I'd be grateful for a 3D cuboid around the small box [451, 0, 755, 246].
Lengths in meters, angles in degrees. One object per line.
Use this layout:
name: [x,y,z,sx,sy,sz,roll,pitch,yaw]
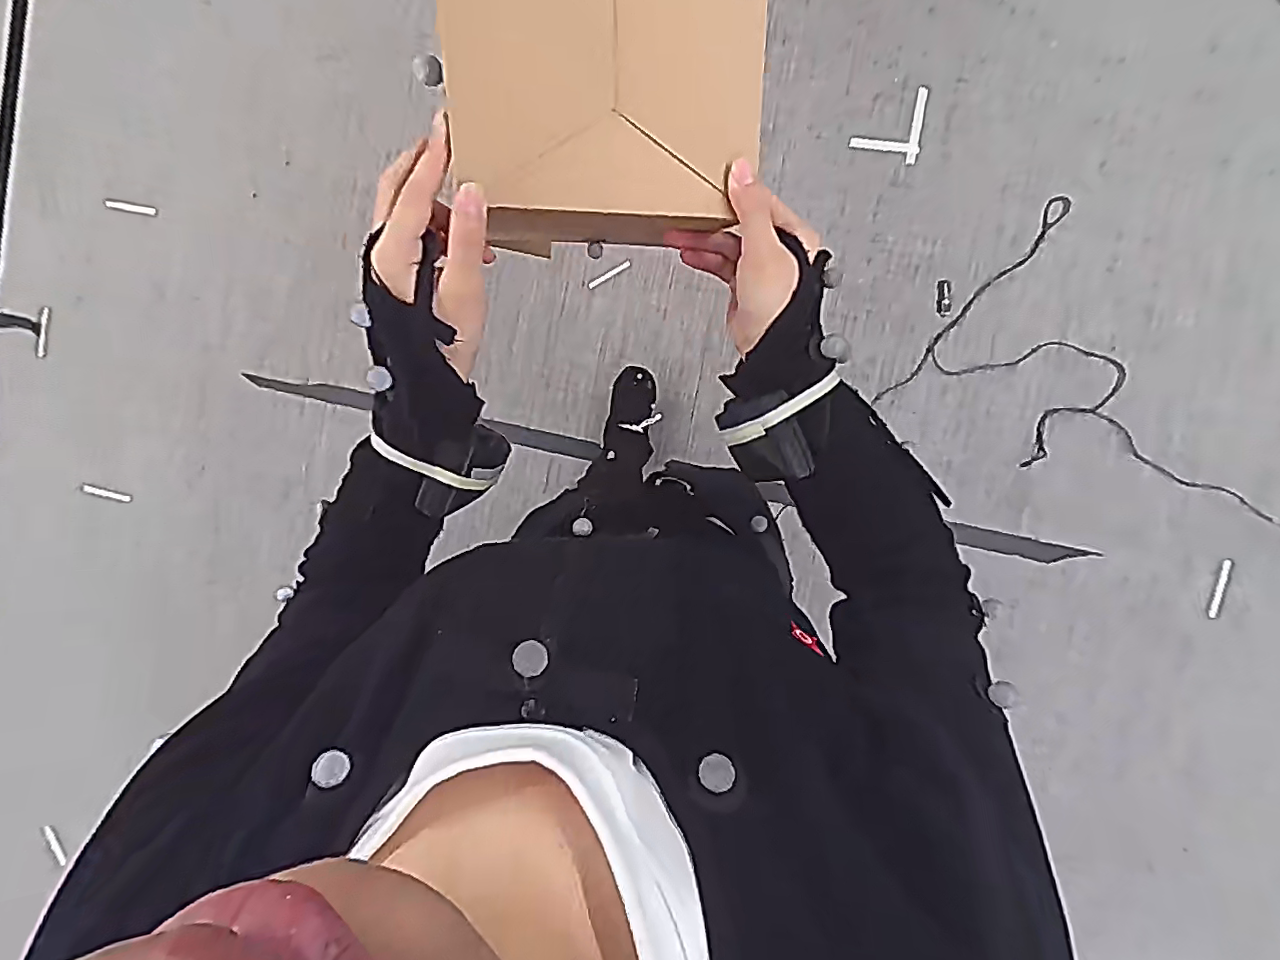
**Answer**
small box: [-0.032,-0.258,0.370,0.179,0.176,0.168,-5,108,-16]
